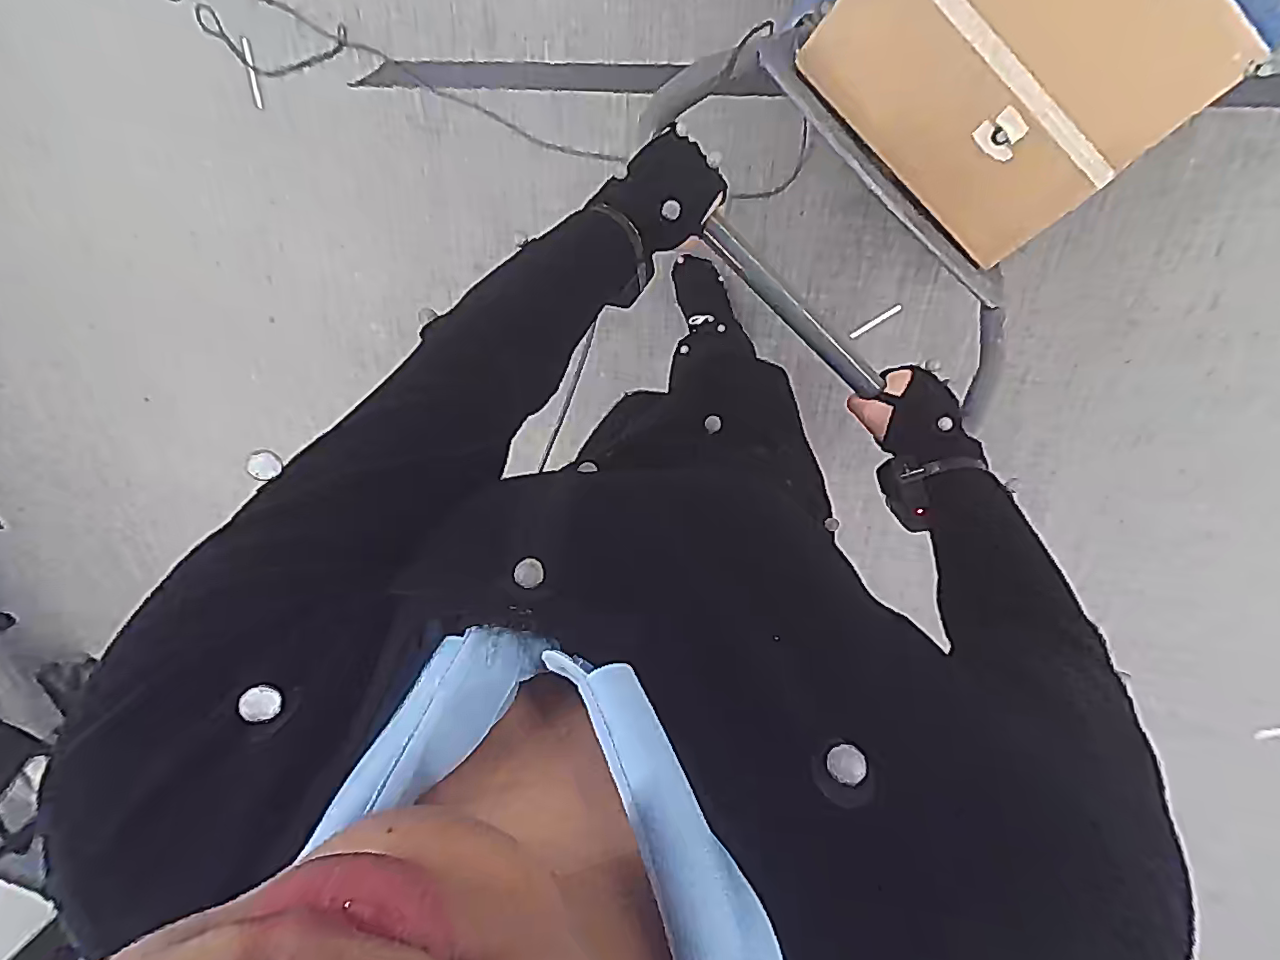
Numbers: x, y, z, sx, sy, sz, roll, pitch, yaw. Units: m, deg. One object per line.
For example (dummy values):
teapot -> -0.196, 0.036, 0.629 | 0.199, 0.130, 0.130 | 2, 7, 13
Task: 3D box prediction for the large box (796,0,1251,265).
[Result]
large box -> 0.497, -0.603, 0.775 | 0.408, 0.320, 0.320 | 41, 136, -8
